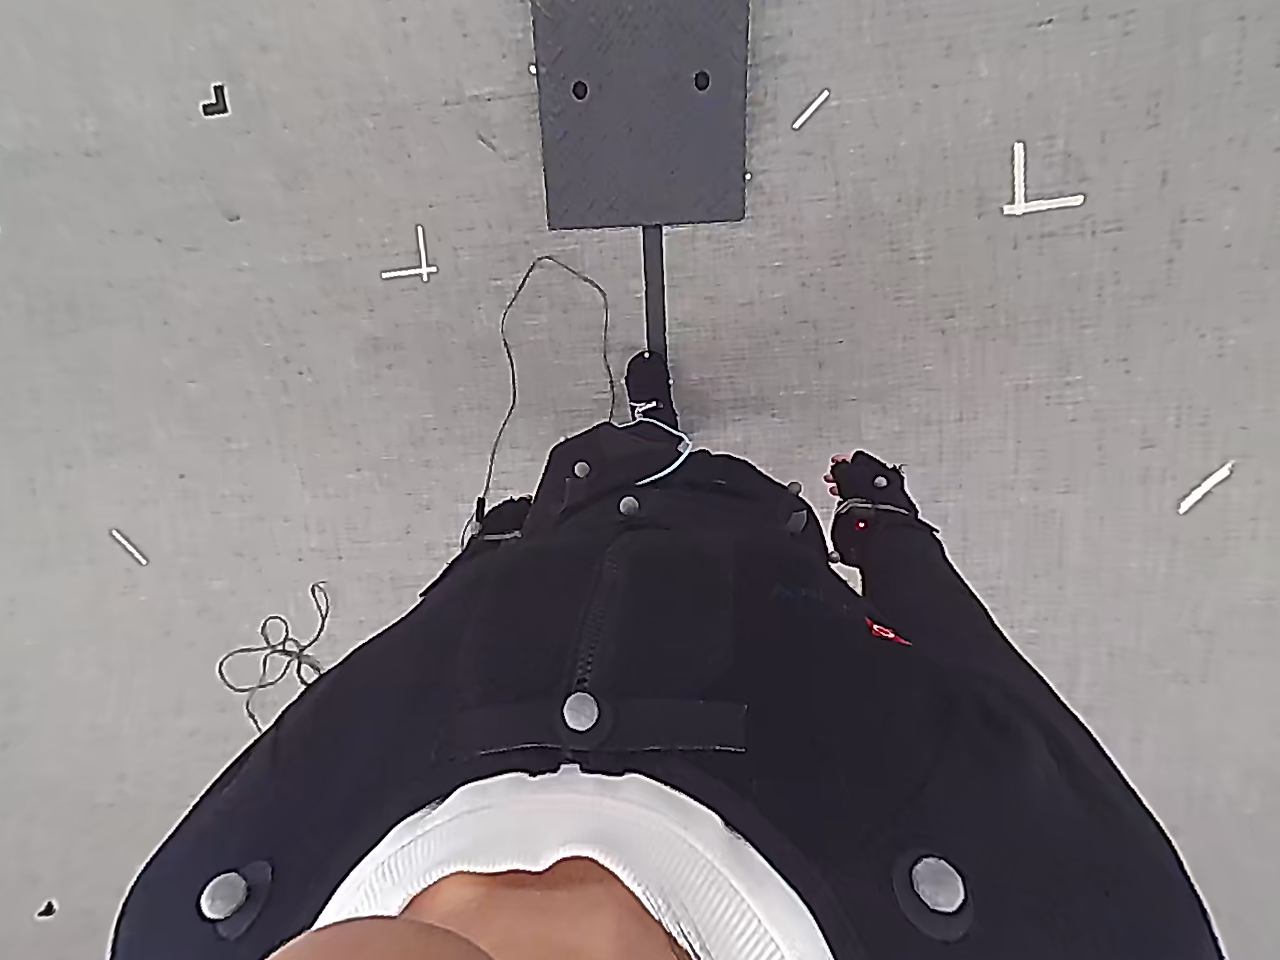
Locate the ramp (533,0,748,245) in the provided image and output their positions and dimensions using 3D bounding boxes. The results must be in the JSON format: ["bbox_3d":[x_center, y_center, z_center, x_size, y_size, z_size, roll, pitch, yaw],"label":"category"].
[{"bbox_3d":[-0.003,-1.092,1.232,0.509,0.206,0.991,-3,97,6],"label":"ramp"}]
